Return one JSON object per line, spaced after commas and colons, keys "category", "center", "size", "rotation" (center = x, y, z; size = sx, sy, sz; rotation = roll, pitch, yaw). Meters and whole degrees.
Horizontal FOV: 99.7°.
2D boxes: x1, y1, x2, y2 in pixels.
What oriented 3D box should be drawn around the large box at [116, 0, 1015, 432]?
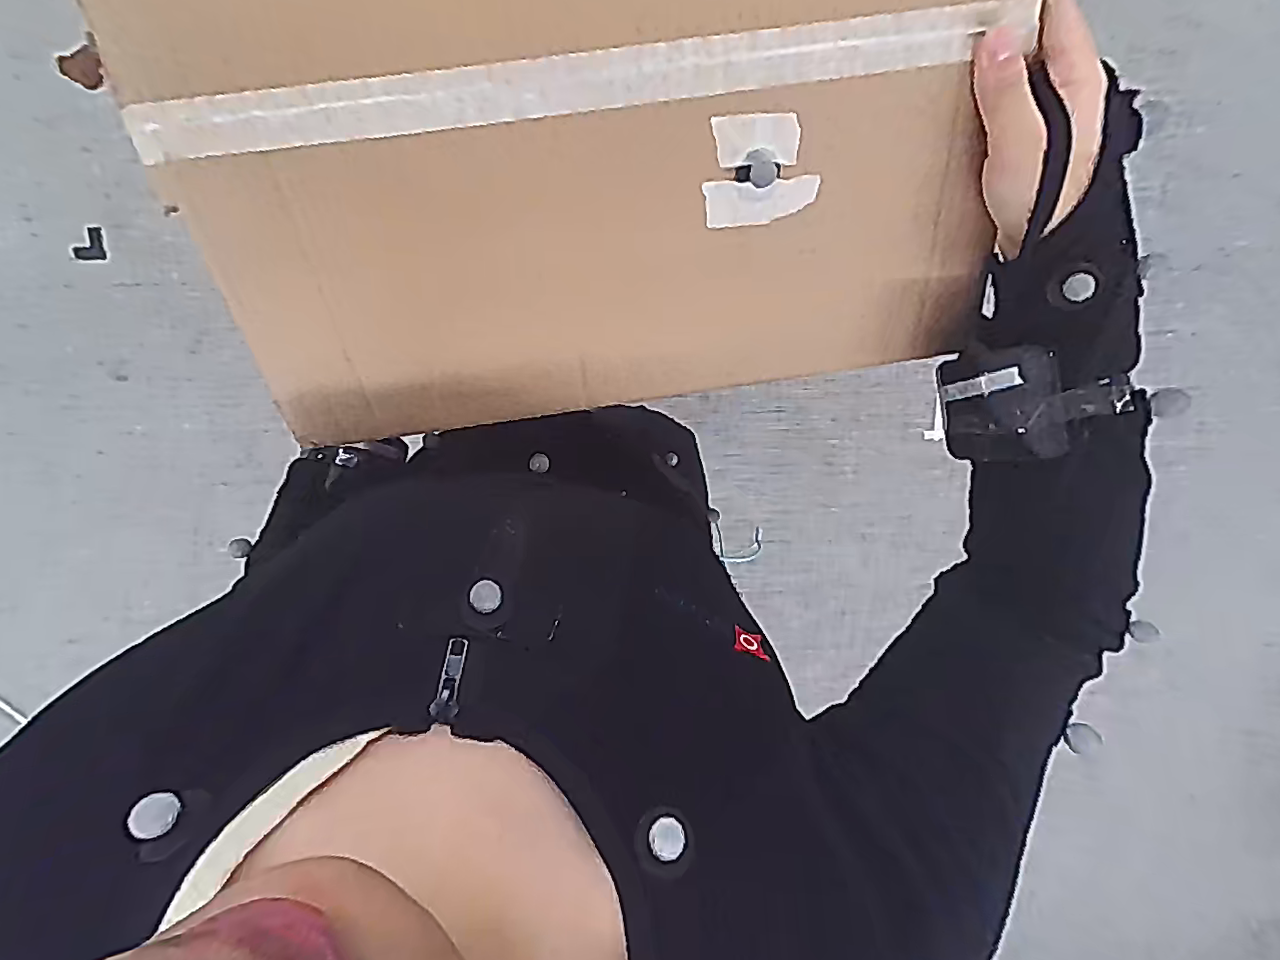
{"category": "large box", "center": [-0.036, -0.264, 0.380], "size": [0.408, 0.320, 0.320], "rotation": [-10, 121, -4]}
